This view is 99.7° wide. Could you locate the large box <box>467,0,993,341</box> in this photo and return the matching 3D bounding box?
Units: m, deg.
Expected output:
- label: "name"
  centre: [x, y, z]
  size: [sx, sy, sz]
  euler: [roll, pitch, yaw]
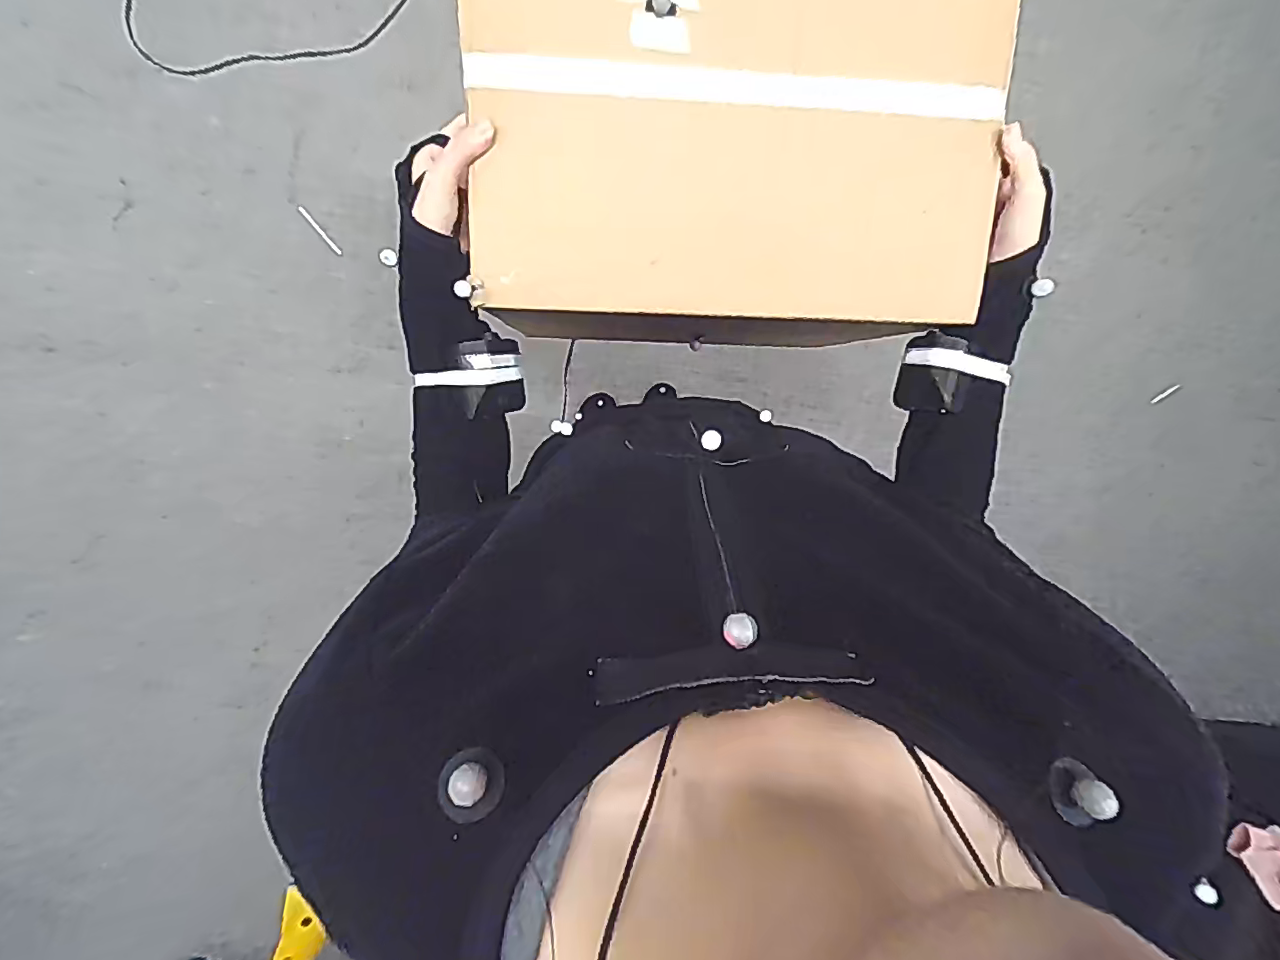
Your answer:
- label: "large box"
  centre: [0.061, -0.311, 0.563]
  size: [0.408, 0.320, 0.320]
  euler: [1, 100, -4]
